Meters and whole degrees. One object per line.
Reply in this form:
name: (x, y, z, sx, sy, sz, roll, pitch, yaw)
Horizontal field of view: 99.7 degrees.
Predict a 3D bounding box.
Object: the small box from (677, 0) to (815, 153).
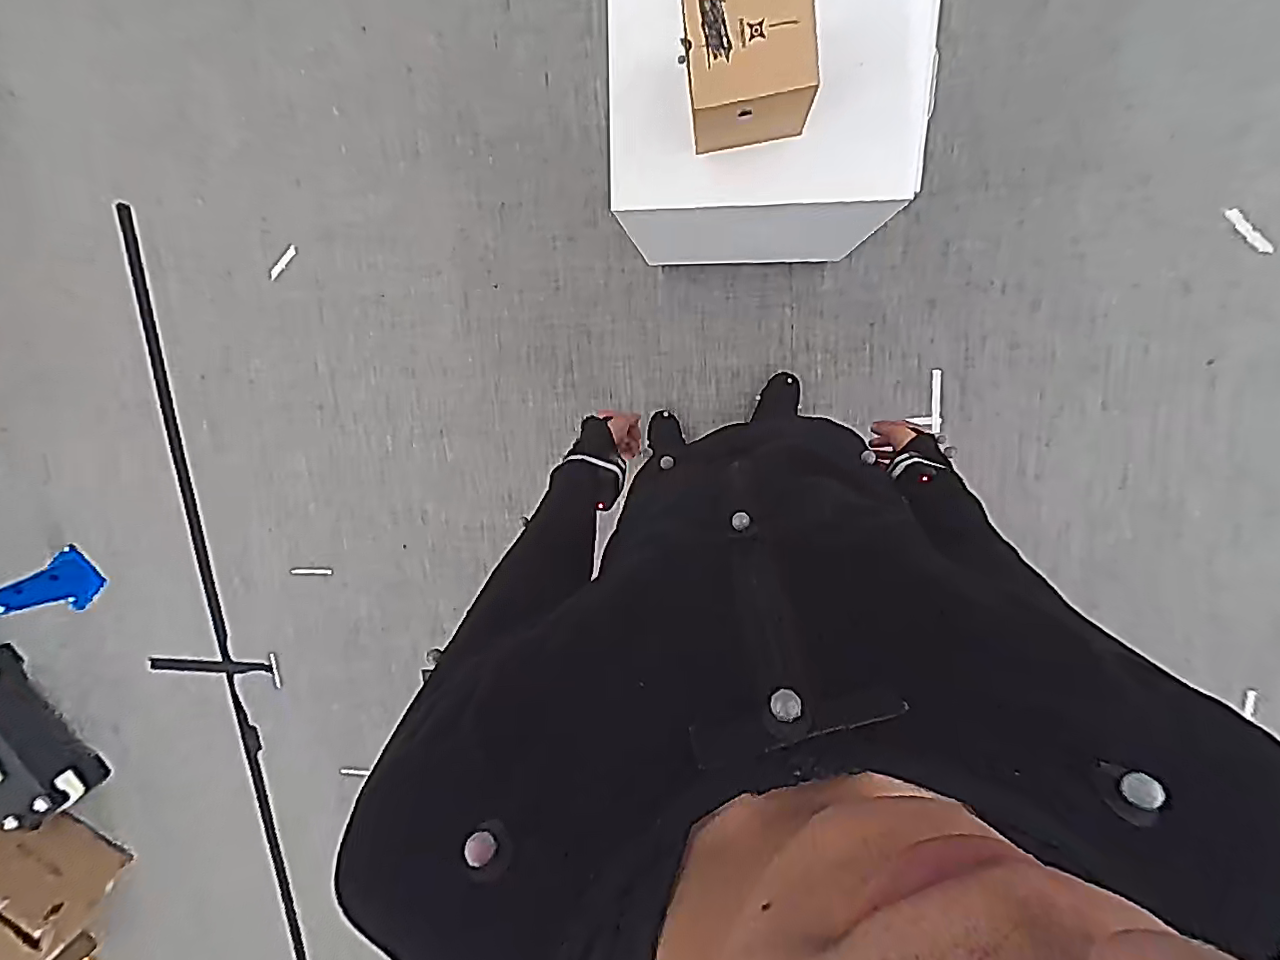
small box: (0.155, -0.618, 0.809, 0.179, 0.176, 0.168, -6, 101, 8)
